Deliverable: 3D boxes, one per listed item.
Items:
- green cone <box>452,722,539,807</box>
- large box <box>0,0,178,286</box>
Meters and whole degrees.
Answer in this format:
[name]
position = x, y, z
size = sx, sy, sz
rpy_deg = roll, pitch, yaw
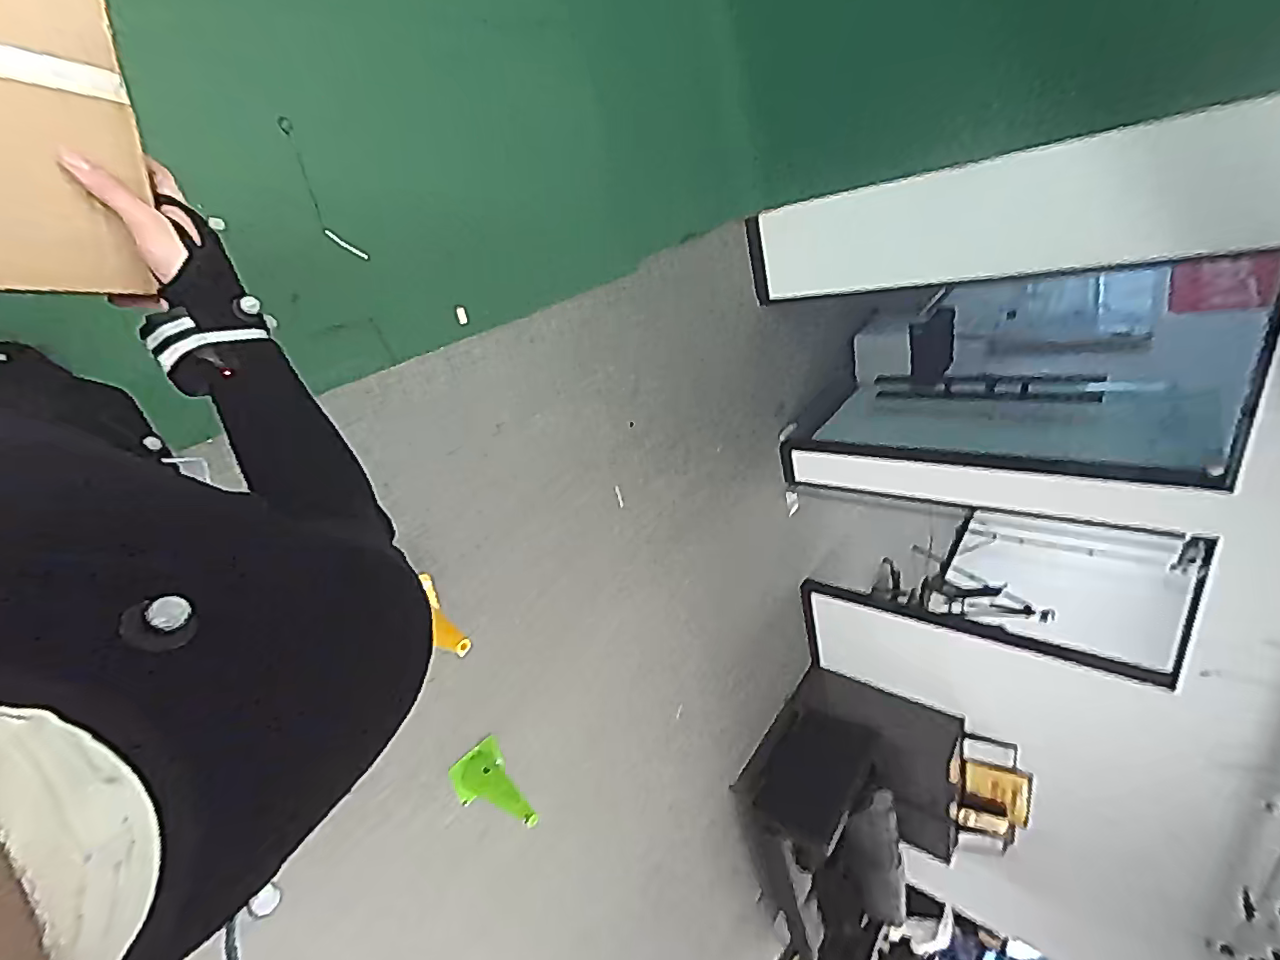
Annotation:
[green cone]
position = -0.489, 1.086, 1.979
size = 0.200, 0.368, 0.202
rpy_deg = -32, 120, -40
[large box]
position = -0.664, -0.314, 0.403
size = 0.408, 0.320, 0.320
rpy_deg = -18, 117, -45
